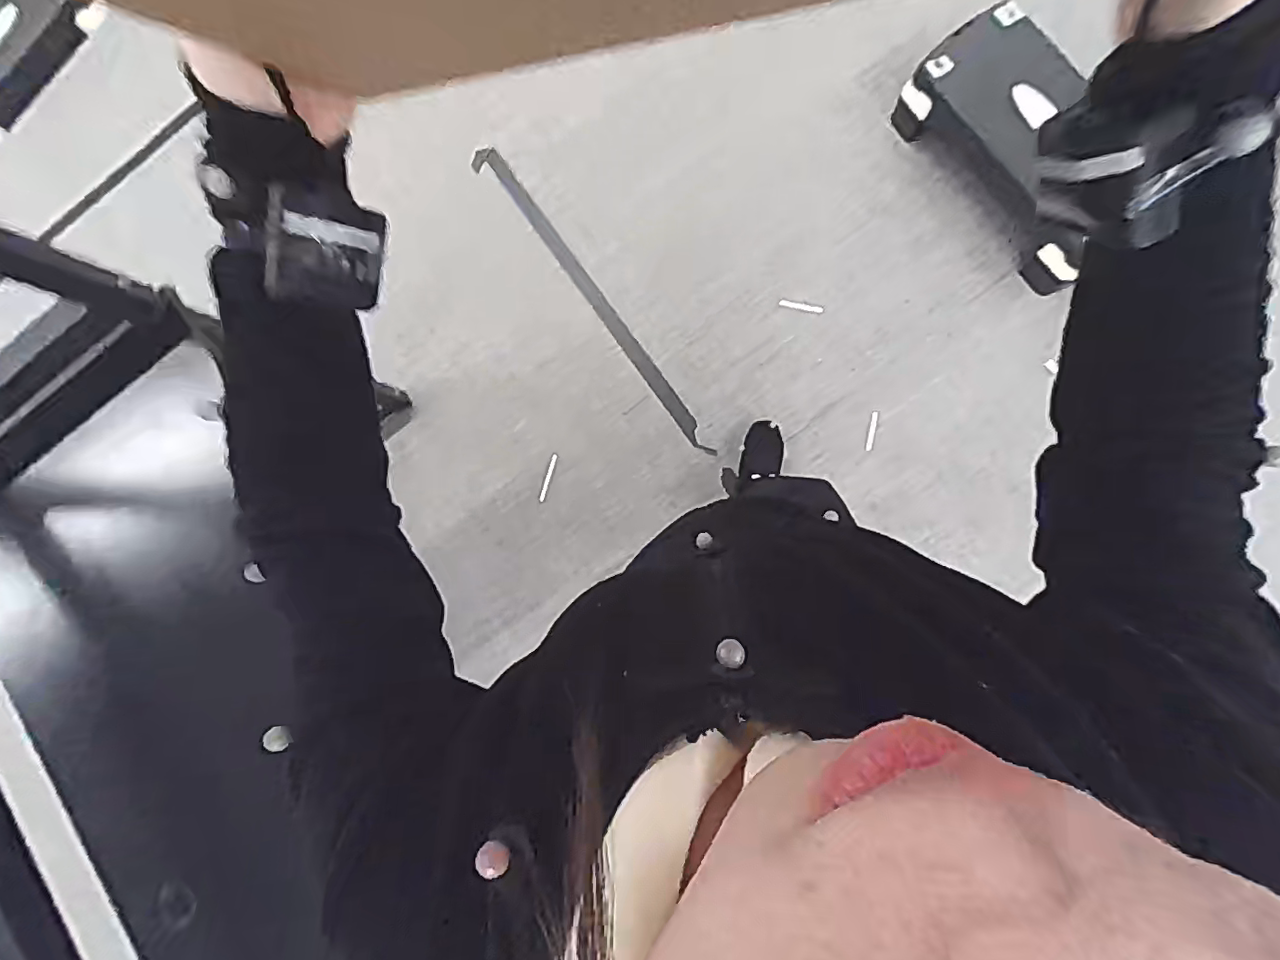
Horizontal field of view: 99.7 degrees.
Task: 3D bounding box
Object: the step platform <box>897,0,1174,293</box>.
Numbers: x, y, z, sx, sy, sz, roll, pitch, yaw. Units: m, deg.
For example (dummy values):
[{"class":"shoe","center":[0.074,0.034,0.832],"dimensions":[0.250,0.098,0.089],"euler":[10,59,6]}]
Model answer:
[{"class":"step platform","center":[0.967,-0.838,1.364],"dimensions":[0.286,0.204,0.684],"euler":[-31,82,4]}]
